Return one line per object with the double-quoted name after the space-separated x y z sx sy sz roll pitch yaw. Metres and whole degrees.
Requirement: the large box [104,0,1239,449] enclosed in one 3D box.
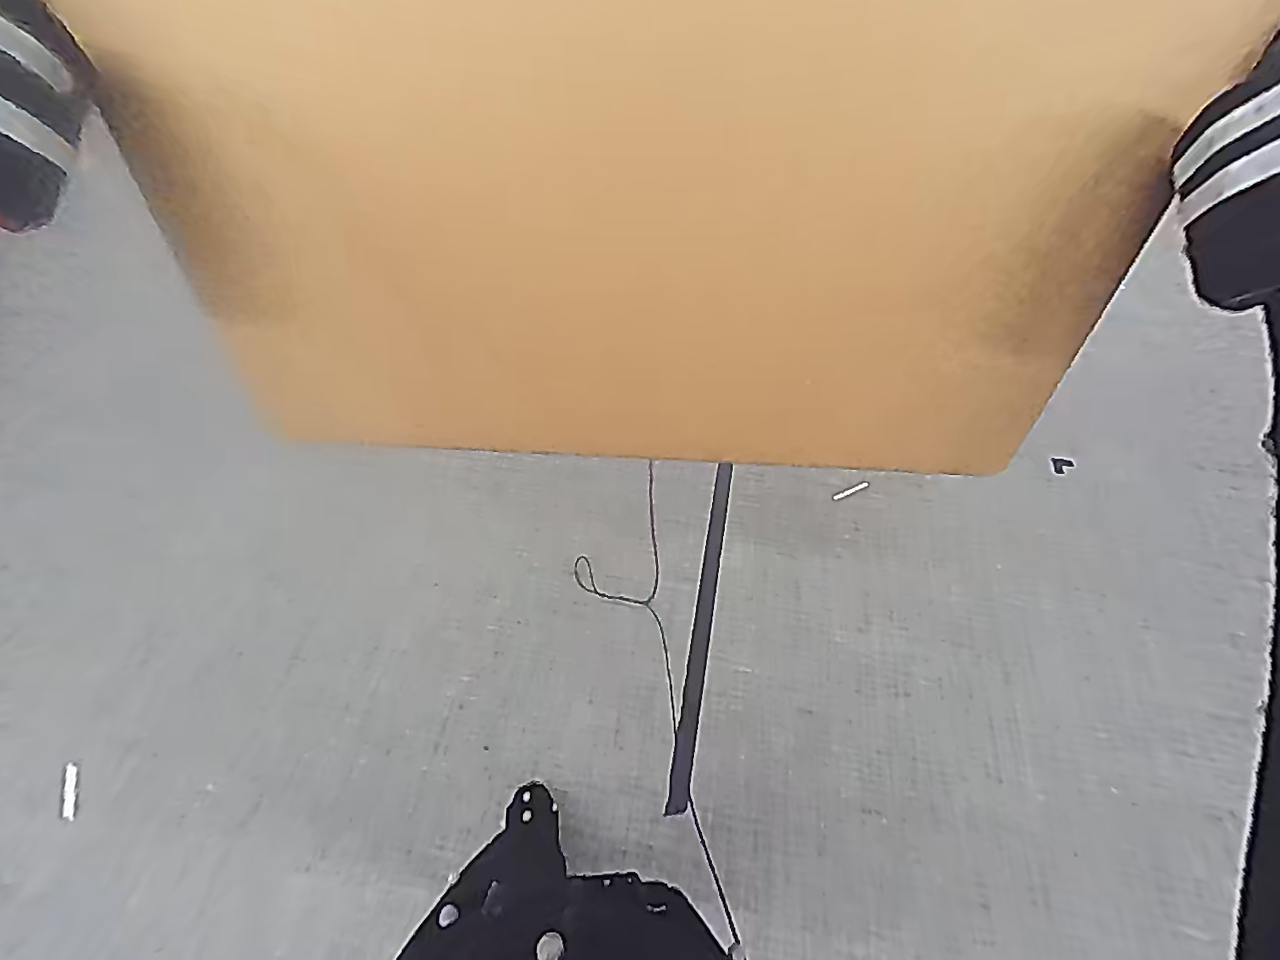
0.009 -0.233 0.322 0.408 0.320 0.320 3 40 -1 "large box"
